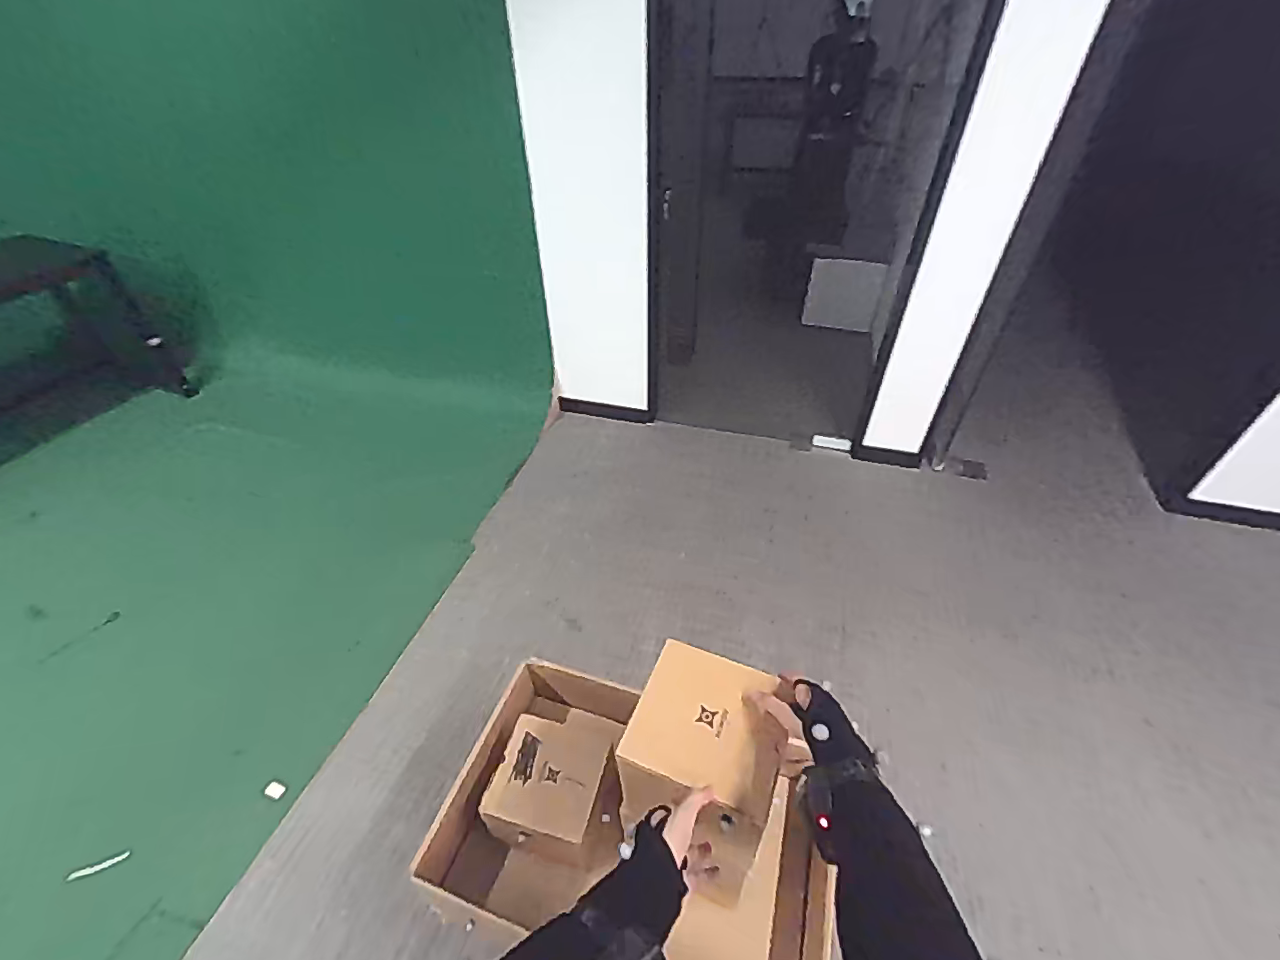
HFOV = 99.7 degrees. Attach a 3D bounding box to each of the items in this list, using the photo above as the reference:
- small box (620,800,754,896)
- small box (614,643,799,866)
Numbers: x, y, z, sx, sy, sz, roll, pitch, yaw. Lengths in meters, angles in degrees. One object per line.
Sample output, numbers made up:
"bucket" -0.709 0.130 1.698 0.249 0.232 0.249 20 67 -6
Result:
"small box" 0.088 0.465 0.785 0.179 0.176 0.168 13 43 19
"small box" 0.085 0.343 0.679 0.179 0.176 0.168 15 44 20
